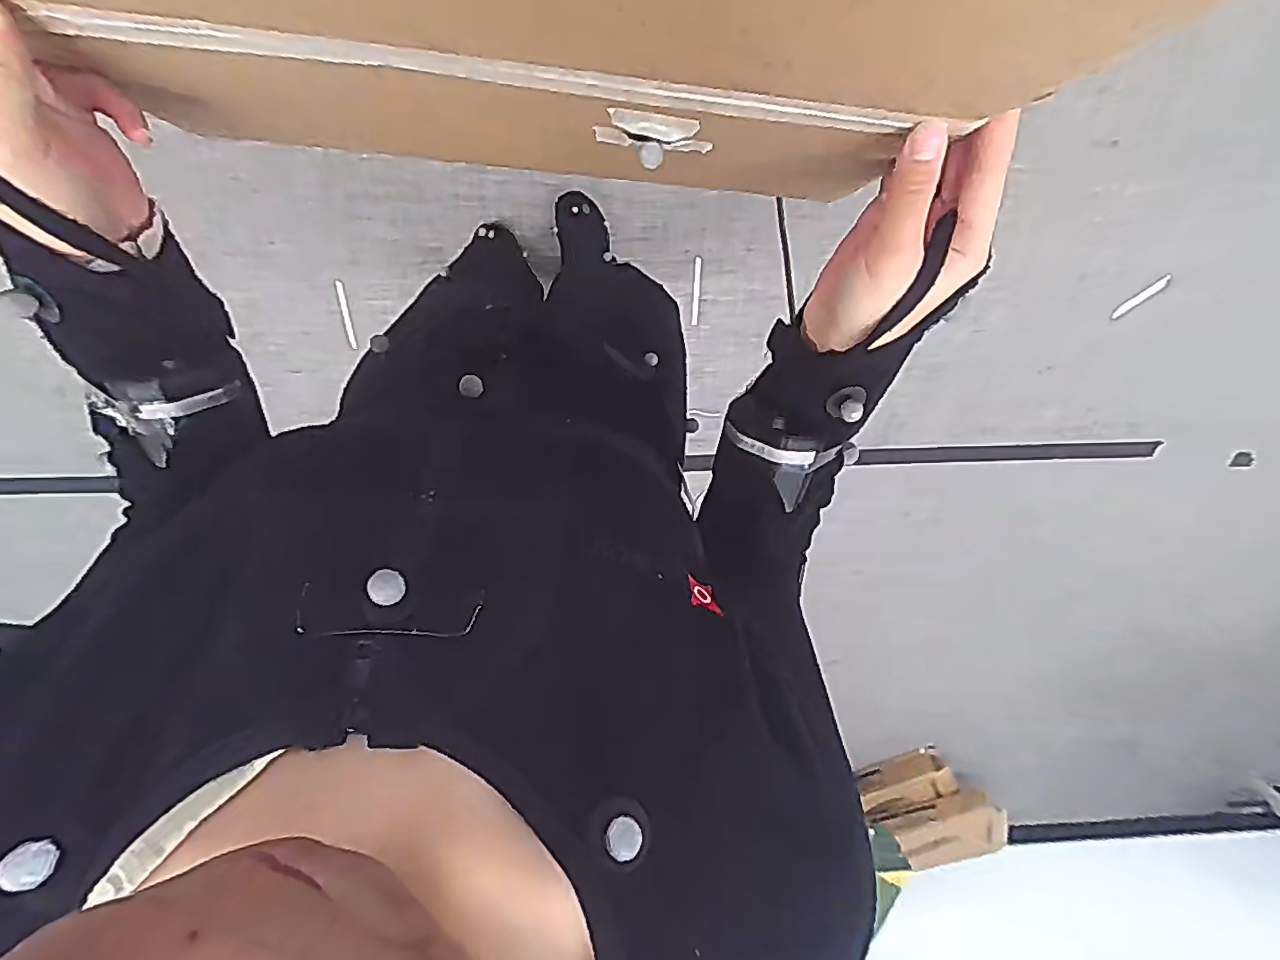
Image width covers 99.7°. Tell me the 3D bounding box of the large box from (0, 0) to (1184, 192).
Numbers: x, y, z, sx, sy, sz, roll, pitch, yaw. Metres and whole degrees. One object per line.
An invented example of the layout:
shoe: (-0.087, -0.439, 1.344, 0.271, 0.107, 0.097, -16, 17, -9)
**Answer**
large box: (-0.047, -0.310, 0.170, 0.408, 0.320, 0.320, 2, 107, -6)
